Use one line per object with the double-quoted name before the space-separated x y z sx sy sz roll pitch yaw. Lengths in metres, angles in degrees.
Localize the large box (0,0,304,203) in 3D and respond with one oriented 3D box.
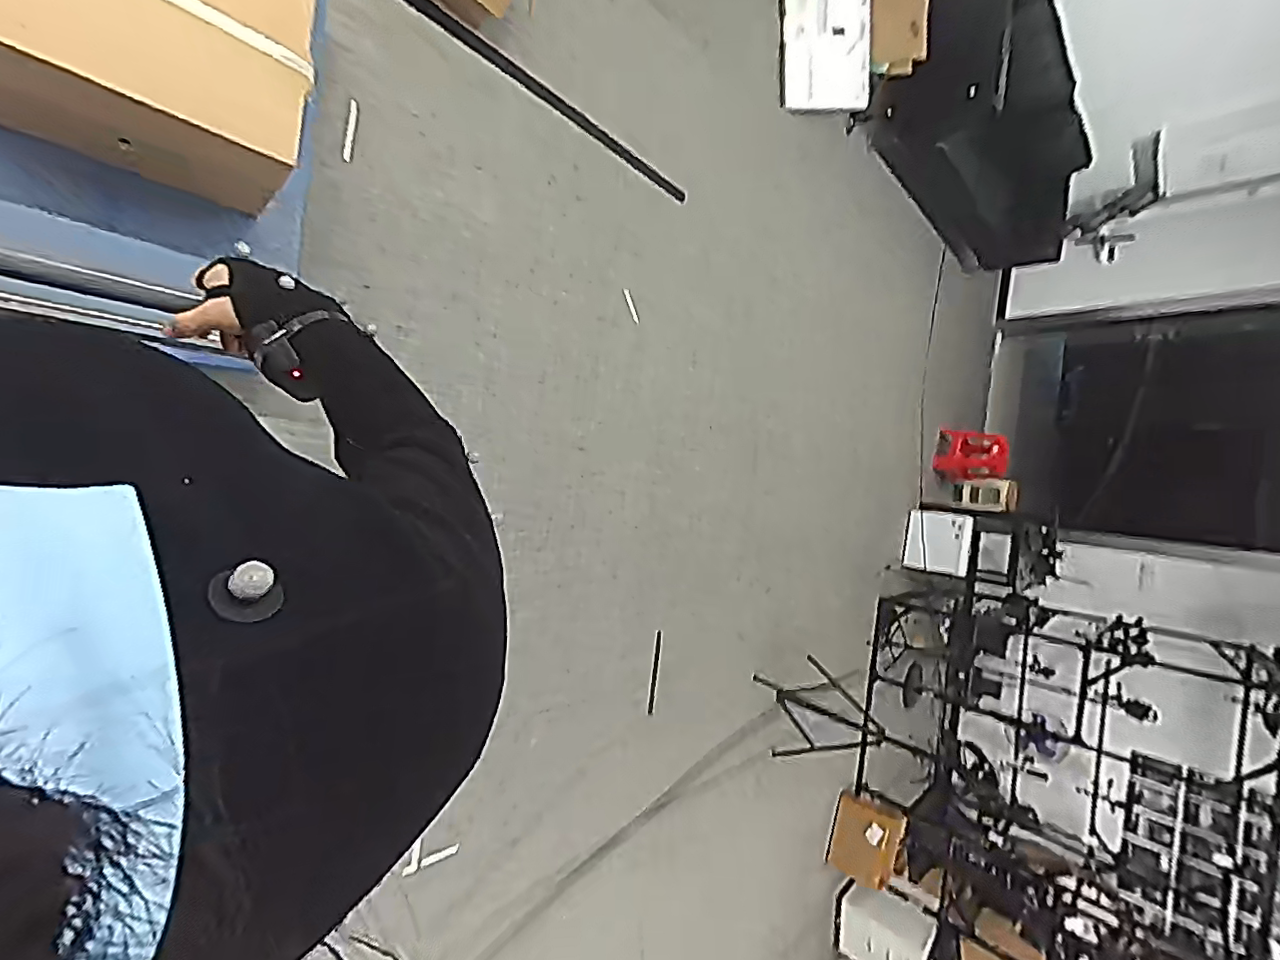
"large box" -0.801 -0.704 0.848 0.408 0.320 0.320 7 89 -45
